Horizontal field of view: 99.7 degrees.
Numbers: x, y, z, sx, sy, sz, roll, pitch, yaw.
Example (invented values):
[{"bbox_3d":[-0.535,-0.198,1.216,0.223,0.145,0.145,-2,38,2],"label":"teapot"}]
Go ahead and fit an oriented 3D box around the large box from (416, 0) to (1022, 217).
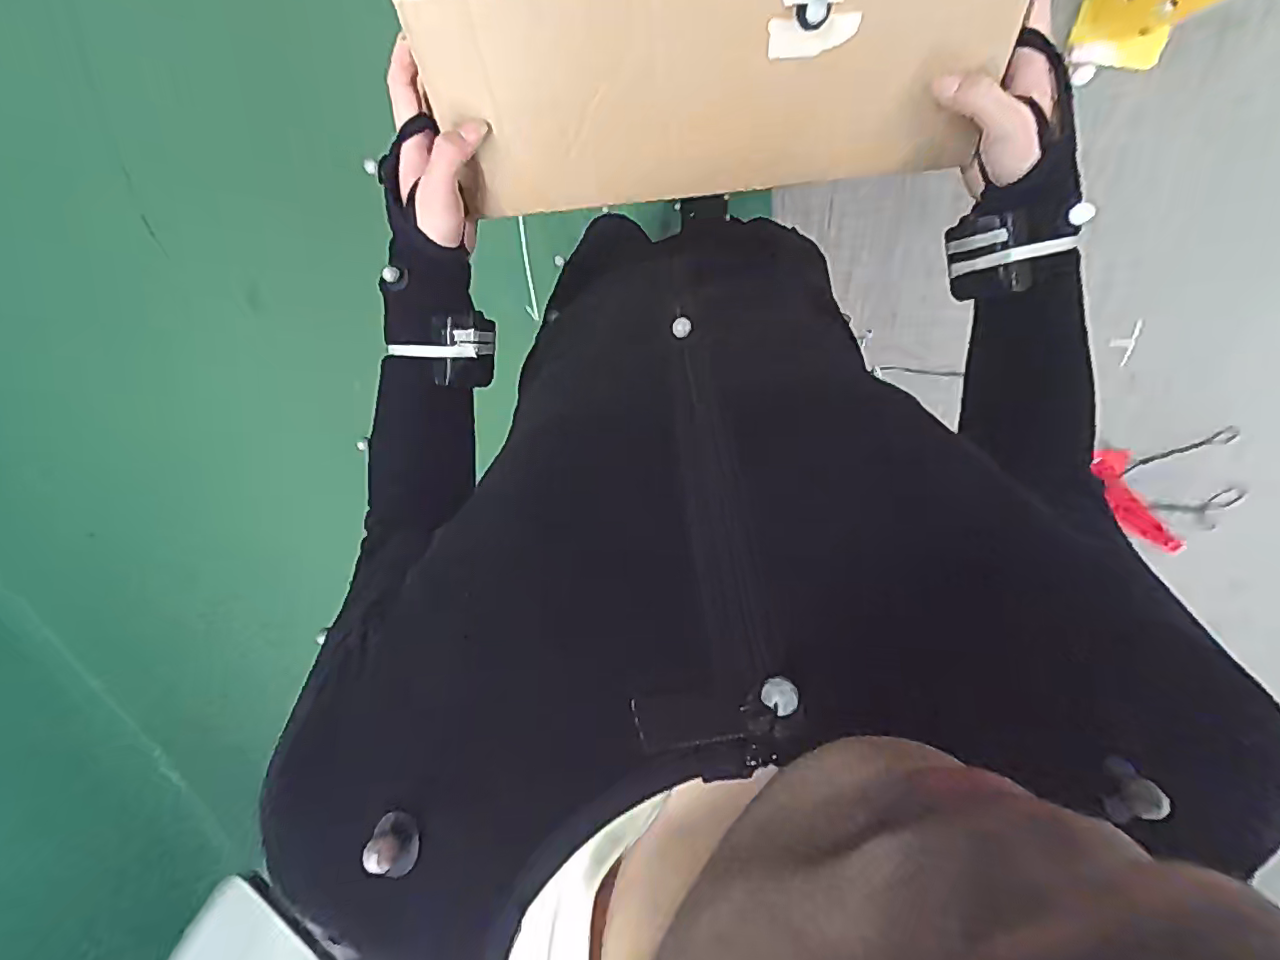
[{"bbox_3d":[0.047,-0.449,0.423,0.408,0.320,0.320,-3,142,5],"label":"large box"}]
